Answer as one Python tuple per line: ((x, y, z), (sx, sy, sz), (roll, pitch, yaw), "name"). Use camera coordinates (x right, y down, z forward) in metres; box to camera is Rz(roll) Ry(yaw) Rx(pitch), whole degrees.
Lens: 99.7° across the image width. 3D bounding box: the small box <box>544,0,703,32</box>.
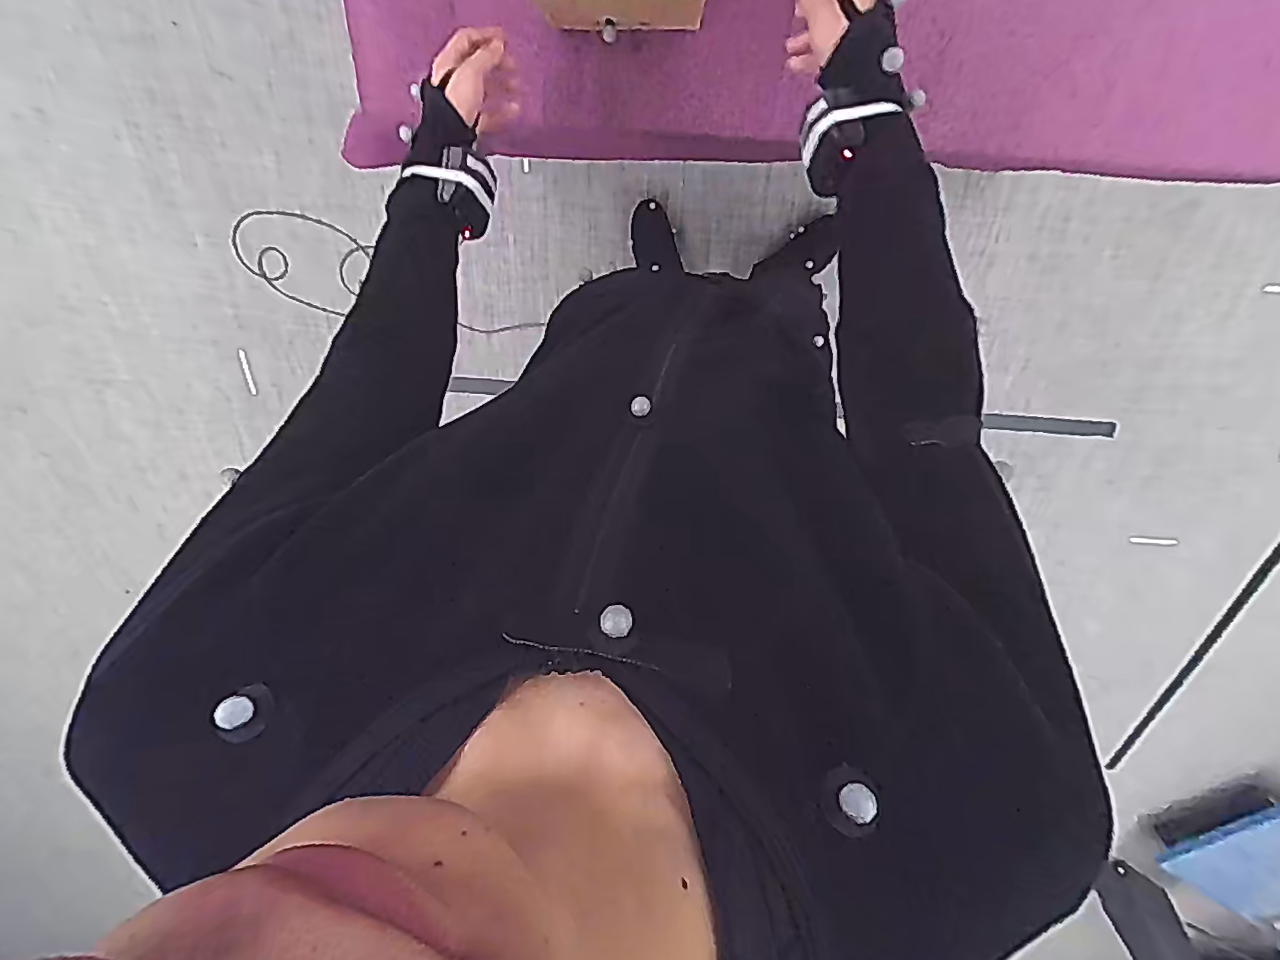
((-0.019, -0.544, 0.497), (0.168, 0.176, 0.179), (2, 120, 2), "small box")
